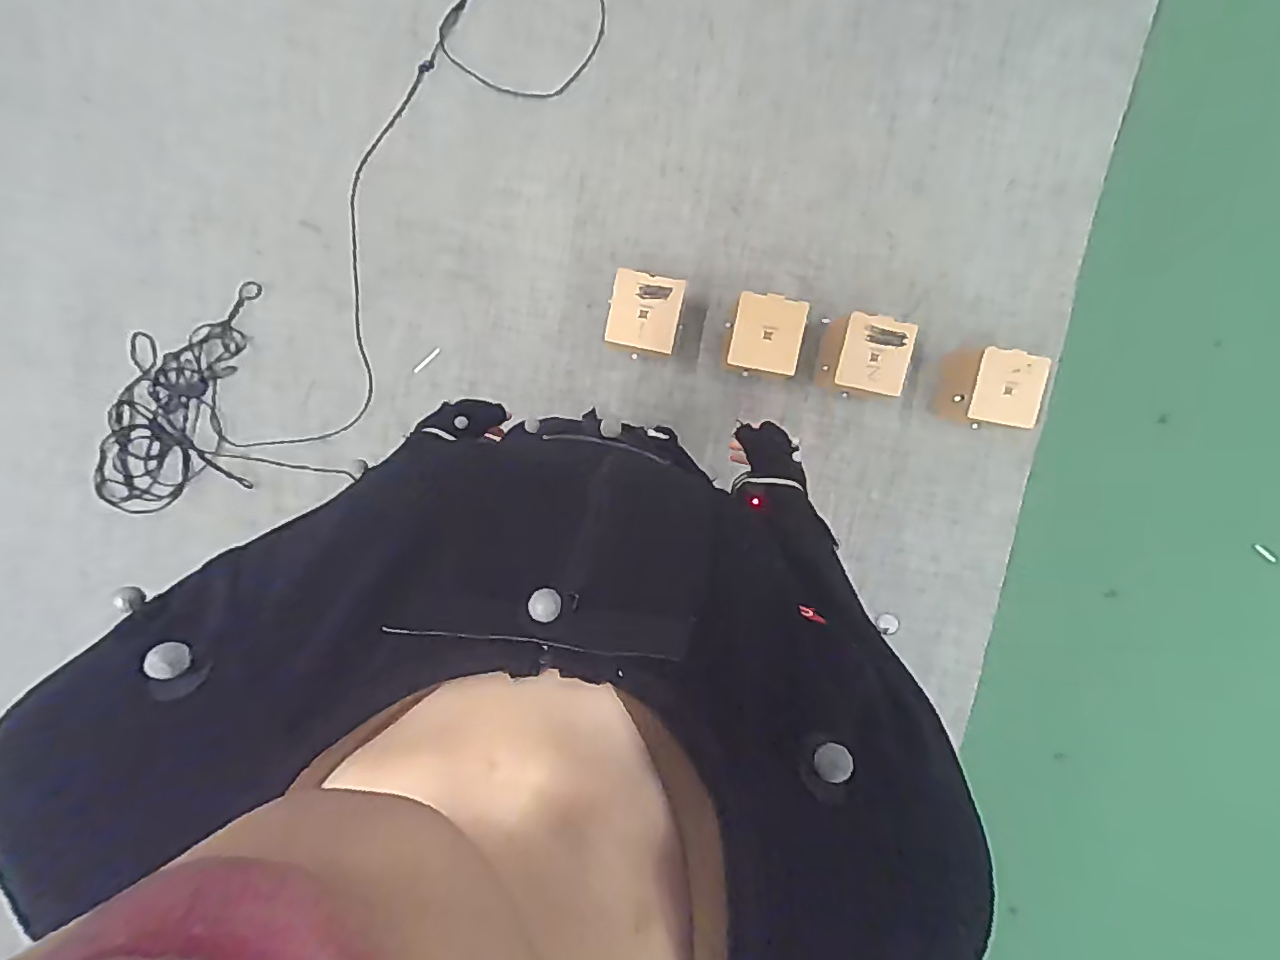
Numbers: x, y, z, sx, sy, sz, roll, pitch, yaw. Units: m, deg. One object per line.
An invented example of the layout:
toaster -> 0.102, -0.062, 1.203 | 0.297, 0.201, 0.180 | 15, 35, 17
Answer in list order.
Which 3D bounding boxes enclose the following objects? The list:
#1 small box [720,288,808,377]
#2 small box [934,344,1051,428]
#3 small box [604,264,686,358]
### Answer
small box -> 0.300, -0.359, 1.350 | 0.168, 0.176, 0.179 | 10, 96, -1
small box -> 0.876, -0.233, 1.365 | 0.168, 0.176, 0.179 | 10, 97, -2
small box -> 0.011, -0.412, 1.343 | 0.168, 0.176, 0.179 | 12, 98, -1
